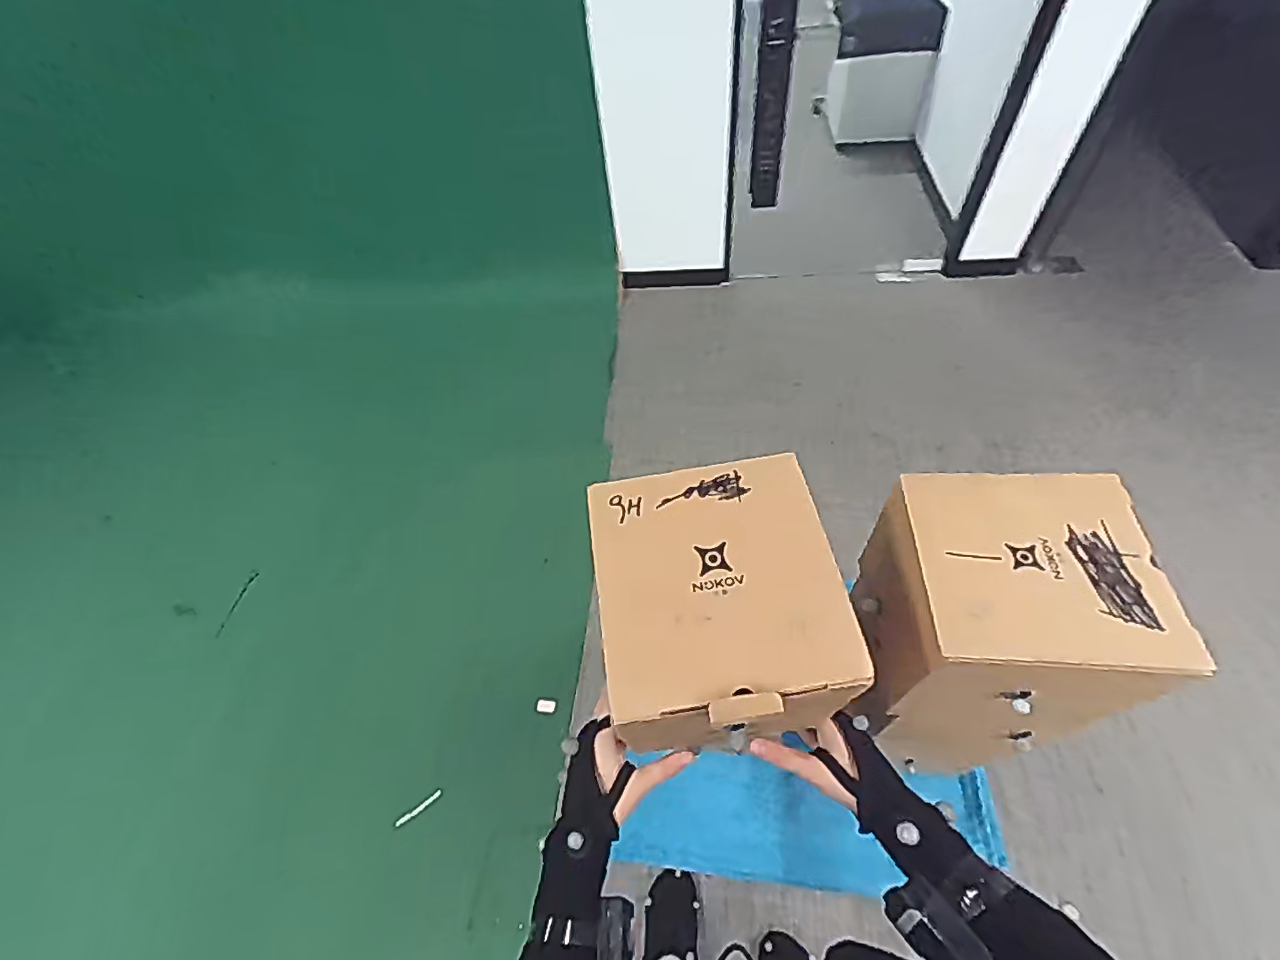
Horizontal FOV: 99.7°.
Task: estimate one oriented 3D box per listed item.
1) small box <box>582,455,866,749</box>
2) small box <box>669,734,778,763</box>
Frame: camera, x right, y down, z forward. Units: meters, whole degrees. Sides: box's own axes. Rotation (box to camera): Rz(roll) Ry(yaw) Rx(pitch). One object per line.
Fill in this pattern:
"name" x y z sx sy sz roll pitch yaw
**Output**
"small box" 0.052 0.107 0.432 0.168 0.176 0.179 -9 57 -1
"small box" 0.107 0.291 0.776 0.168 0.176 0.179 5 53 8
